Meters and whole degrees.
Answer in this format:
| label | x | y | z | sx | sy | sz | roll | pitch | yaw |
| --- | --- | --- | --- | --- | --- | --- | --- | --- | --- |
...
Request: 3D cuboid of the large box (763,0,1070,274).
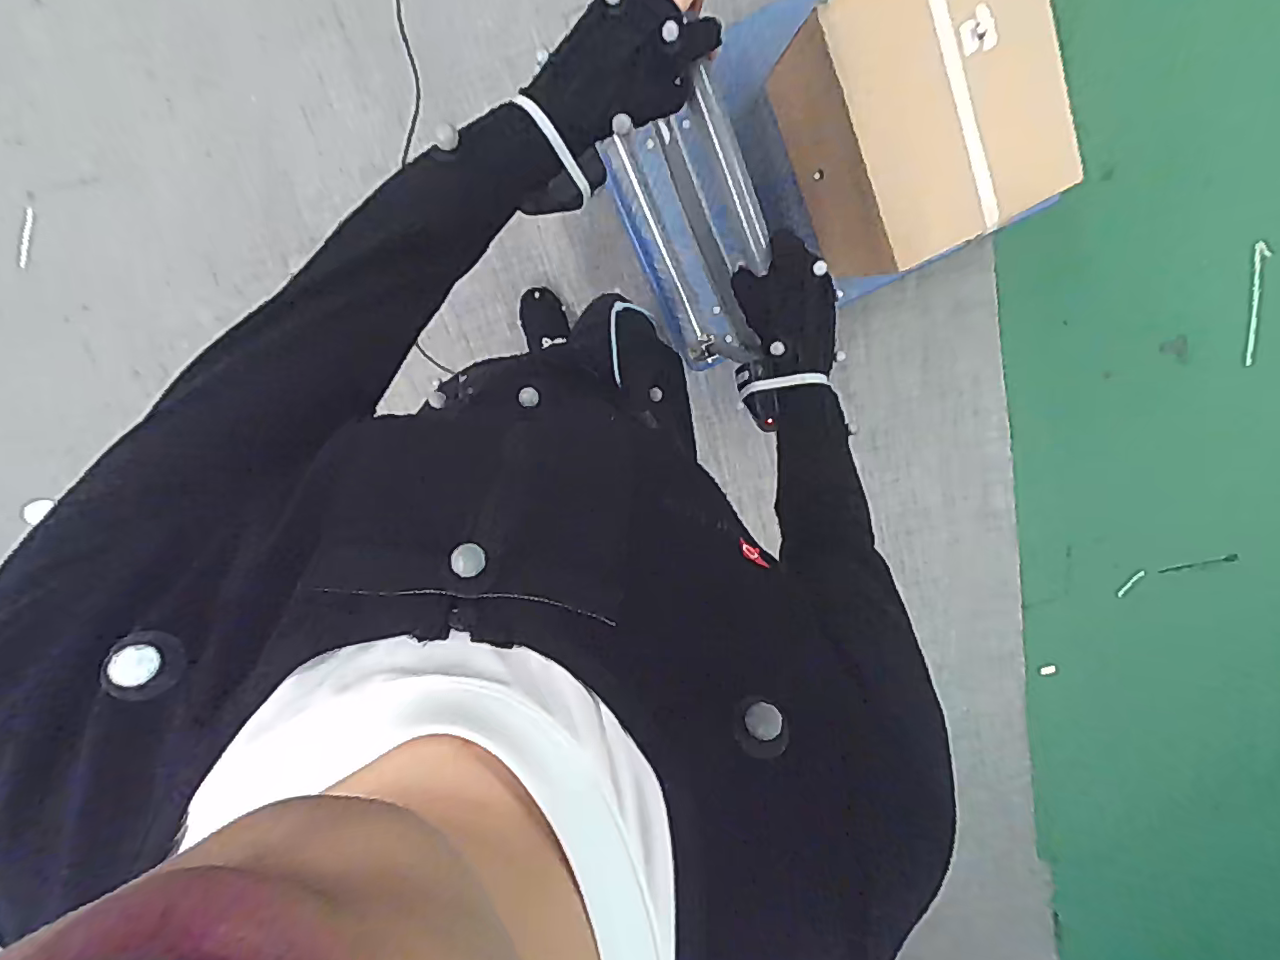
| label | x | y | z | sx | sy | sz | roll | pitch | yaw |
| --- | --- | --- | --- | --- | --- | --- | --- | --- | --- |
| large box | 0.466 | -0.634 | 0.972 | 0.320 | 0.320 | 0.408 | -26 | 108 | 6 |
